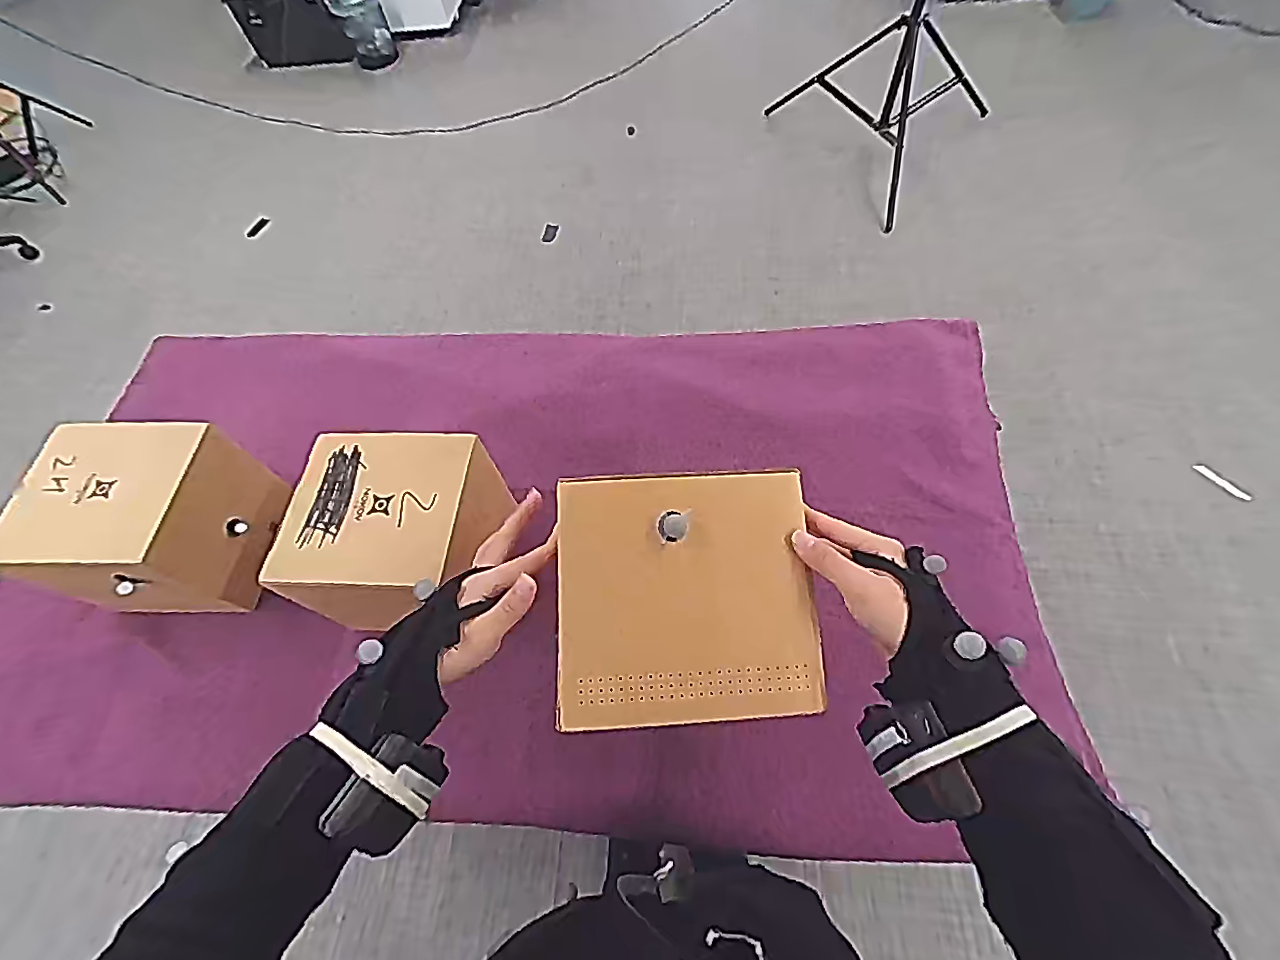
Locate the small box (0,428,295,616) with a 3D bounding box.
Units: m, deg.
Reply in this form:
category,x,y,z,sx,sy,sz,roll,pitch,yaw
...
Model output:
category,x,y,z,sx,sy,sz,roll,pitch,yaw
small box,-0.550,0.054,0.630,0.179,0.176,0.168,0,60,3
